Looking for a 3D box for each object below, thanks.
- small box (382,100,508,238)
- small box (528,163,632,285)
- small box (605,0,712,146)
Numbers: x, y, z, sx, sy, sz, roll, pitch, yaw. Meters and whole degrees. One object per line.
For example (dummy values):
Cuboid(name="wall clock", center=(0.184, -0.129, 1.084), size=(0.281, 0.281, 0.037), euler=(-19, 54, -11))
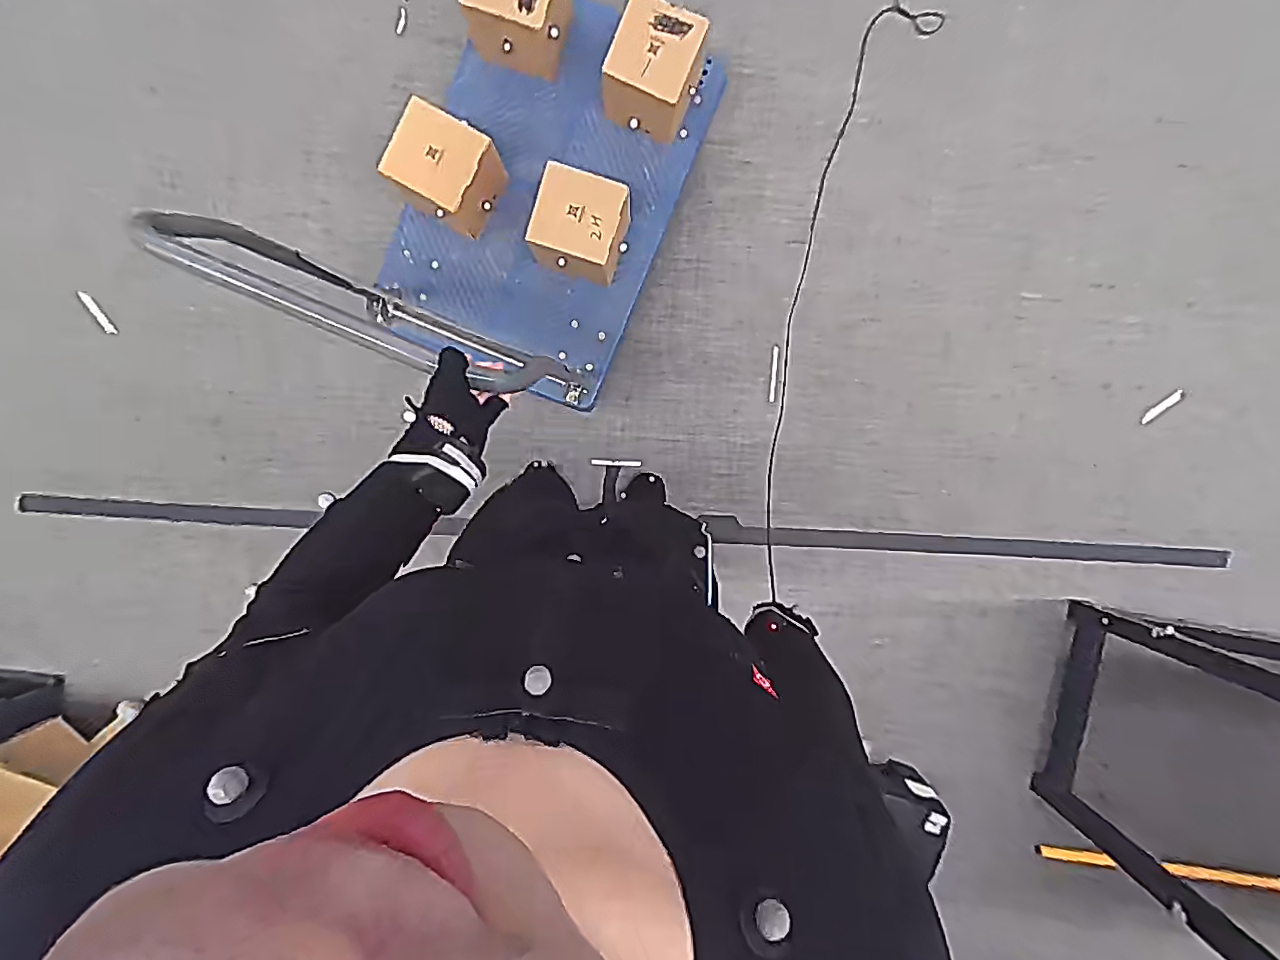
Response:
Cuboid(name="small box", center=(-0.410, -0.656, 1.167), size=(0.179, 0.176, 0.168), euler=(27, 94, -4))
Cuboid(name="small box", center=(-0.124, -0.545, 1.178), size=(0.179, 0.176, 0.168), euler=(17, 95, -2))
Cuboid(name="small box", center=(0.034, -0.866, 1.153), size=(0.168, 0.176, 0.179), euler=(23, 95, -2))
